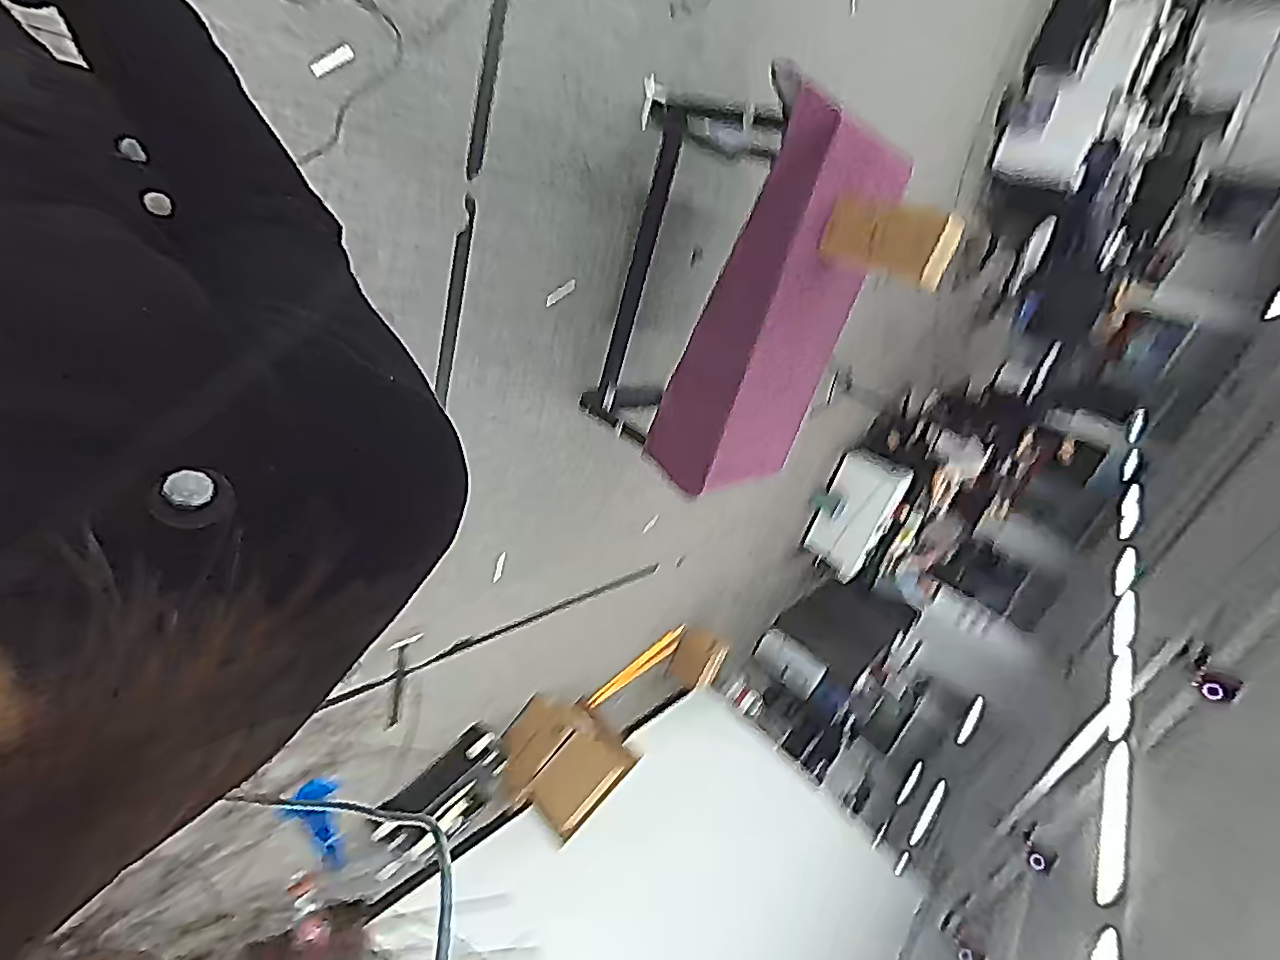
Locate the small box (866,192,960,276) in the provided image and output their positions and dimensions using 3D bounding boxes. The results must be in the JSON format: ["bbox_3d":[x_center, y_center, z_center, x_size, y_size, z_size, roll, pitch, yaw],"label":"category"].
[{"bbox_3d":[0.798,-0.724,1.587,0.168,0.176,0.179,-10,126,-48],"label":"small box"}]
